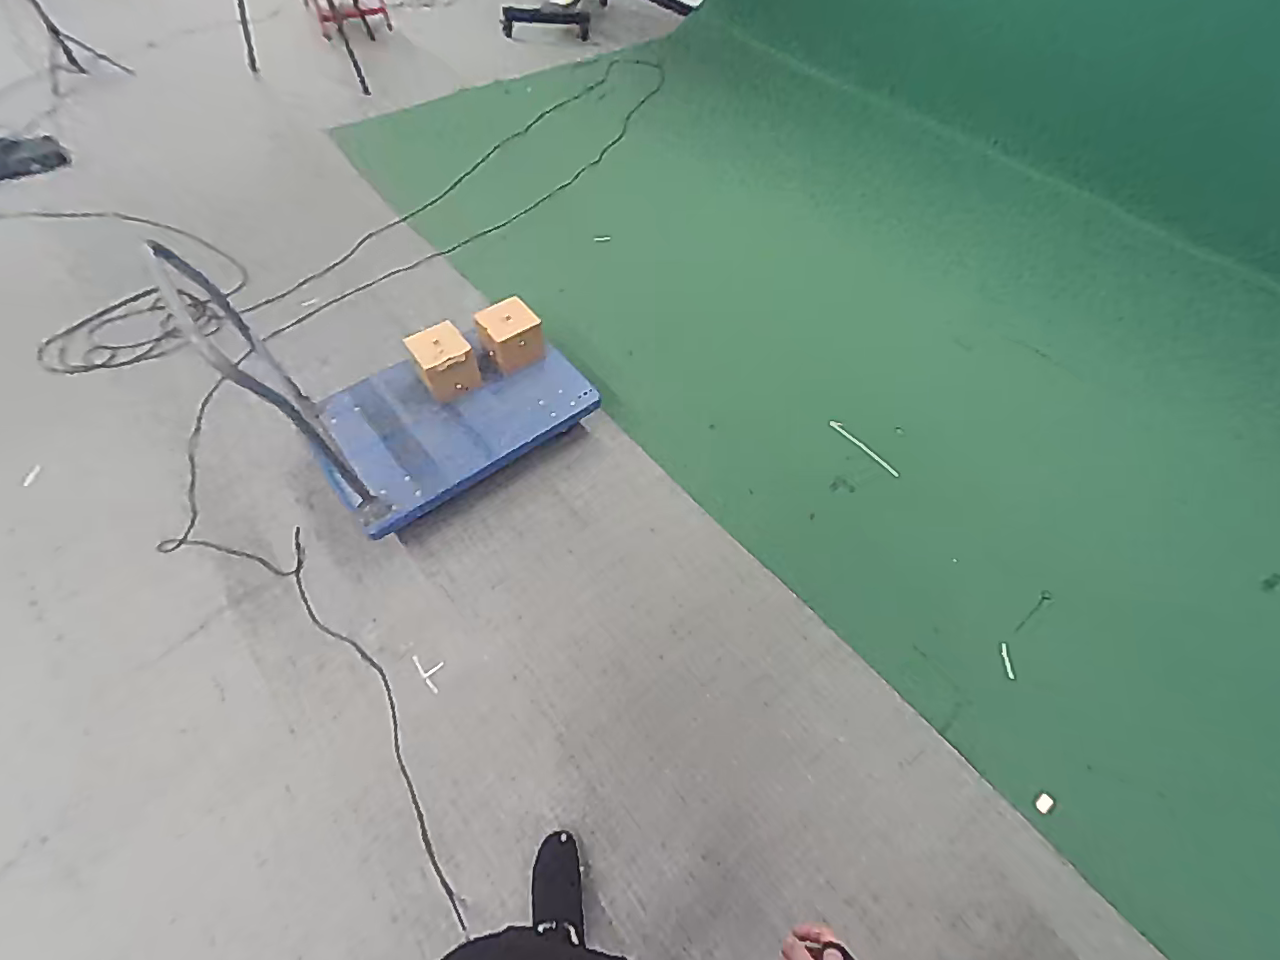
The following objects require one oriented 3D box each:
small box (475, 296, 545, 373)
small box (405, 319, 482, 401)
[{"bbox_3d":[-0.449,-0.506,1.899,0.179,0.176,0.168,-33,65,-21],"label":"small box"},{"bbox_3d":[-0.655,-0.401,1.817,0.168,0.176,0.179,-31,64,-20],"label":"small box"}]
